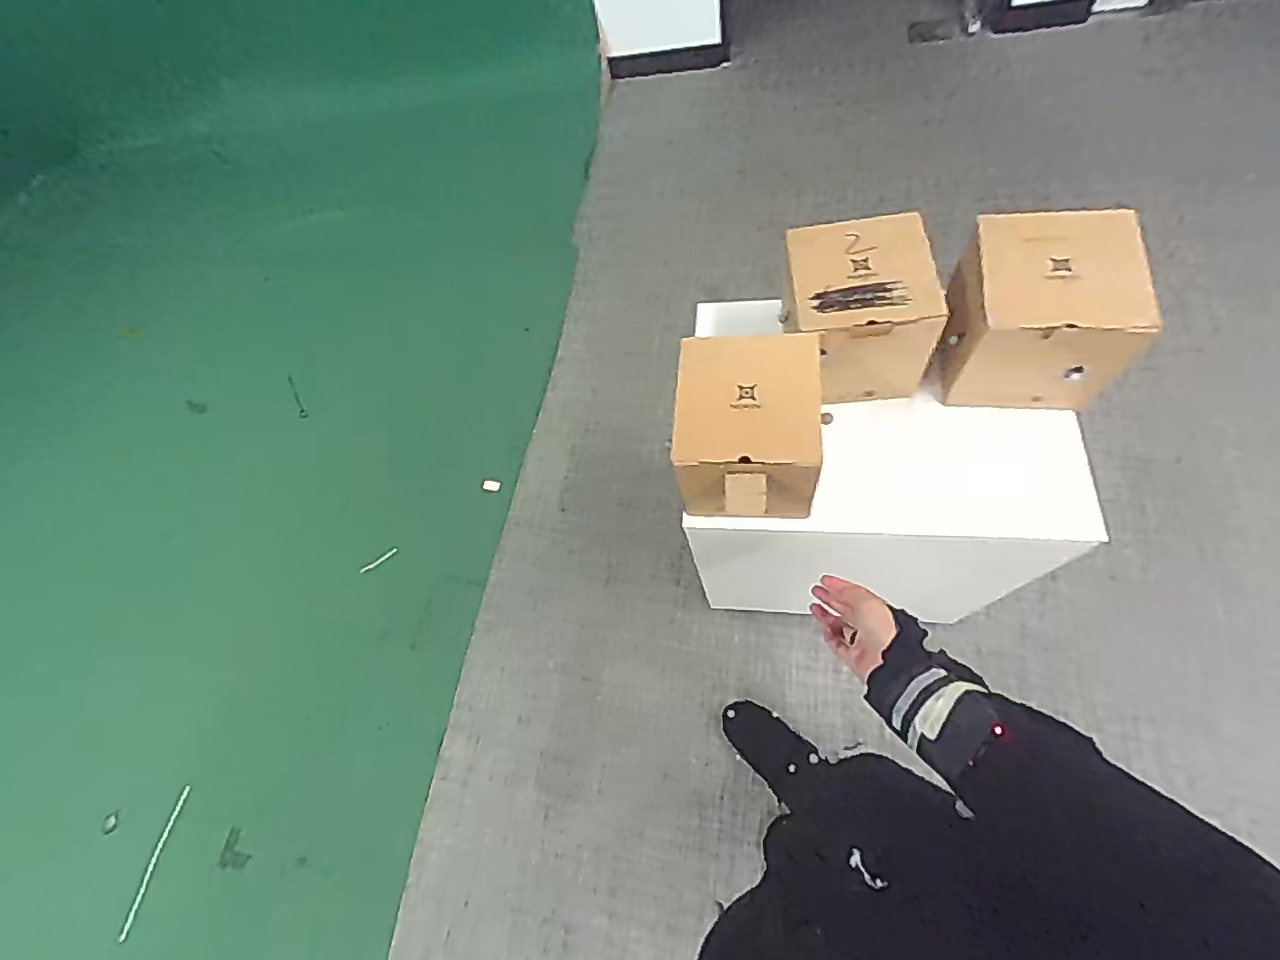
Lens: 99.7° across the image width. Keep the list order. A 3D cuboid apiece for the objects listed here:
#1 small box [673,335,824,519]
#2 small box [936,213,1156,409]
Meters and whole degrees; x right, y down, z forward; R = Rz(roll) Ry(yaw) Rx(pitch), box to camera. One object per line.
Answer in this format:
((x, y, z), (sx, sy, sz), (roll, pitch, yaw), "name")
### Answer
((0.138, -0.063, 0.692), (0.168, 0.176, 0.179), (1, 66, 12), "small box")
((0.492, -0.206, 0.688), (0.168, 0.176, 0.179), (4, 66, 13), "small box")
